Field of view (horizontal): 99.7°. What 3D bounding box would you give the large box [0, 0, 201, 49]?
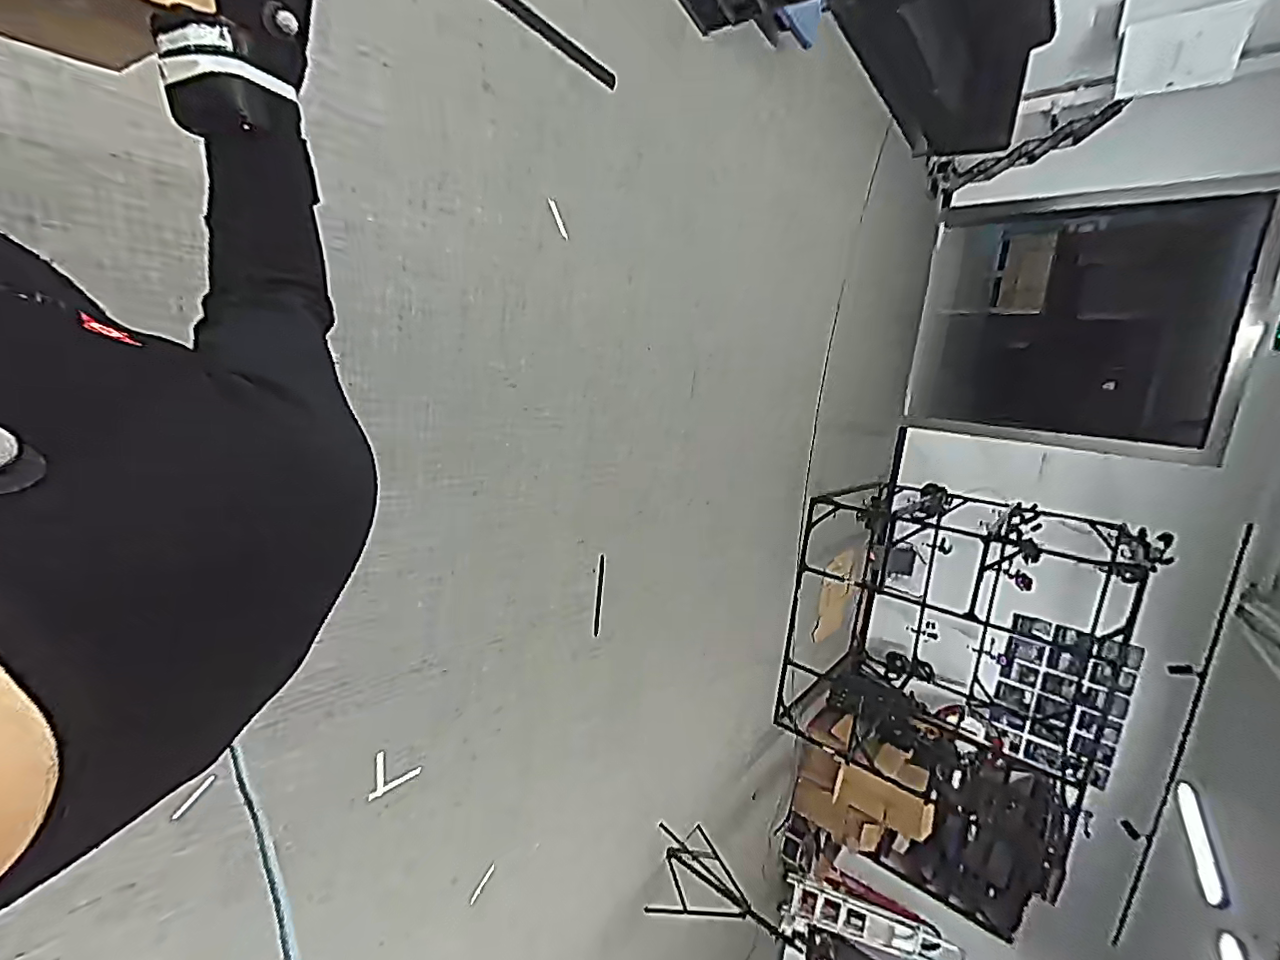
[{"bbox_3d":[-0.515,-0.485,0.257,0.408,0.320,0.320,-15,122,-50],"label":"large box"}]
